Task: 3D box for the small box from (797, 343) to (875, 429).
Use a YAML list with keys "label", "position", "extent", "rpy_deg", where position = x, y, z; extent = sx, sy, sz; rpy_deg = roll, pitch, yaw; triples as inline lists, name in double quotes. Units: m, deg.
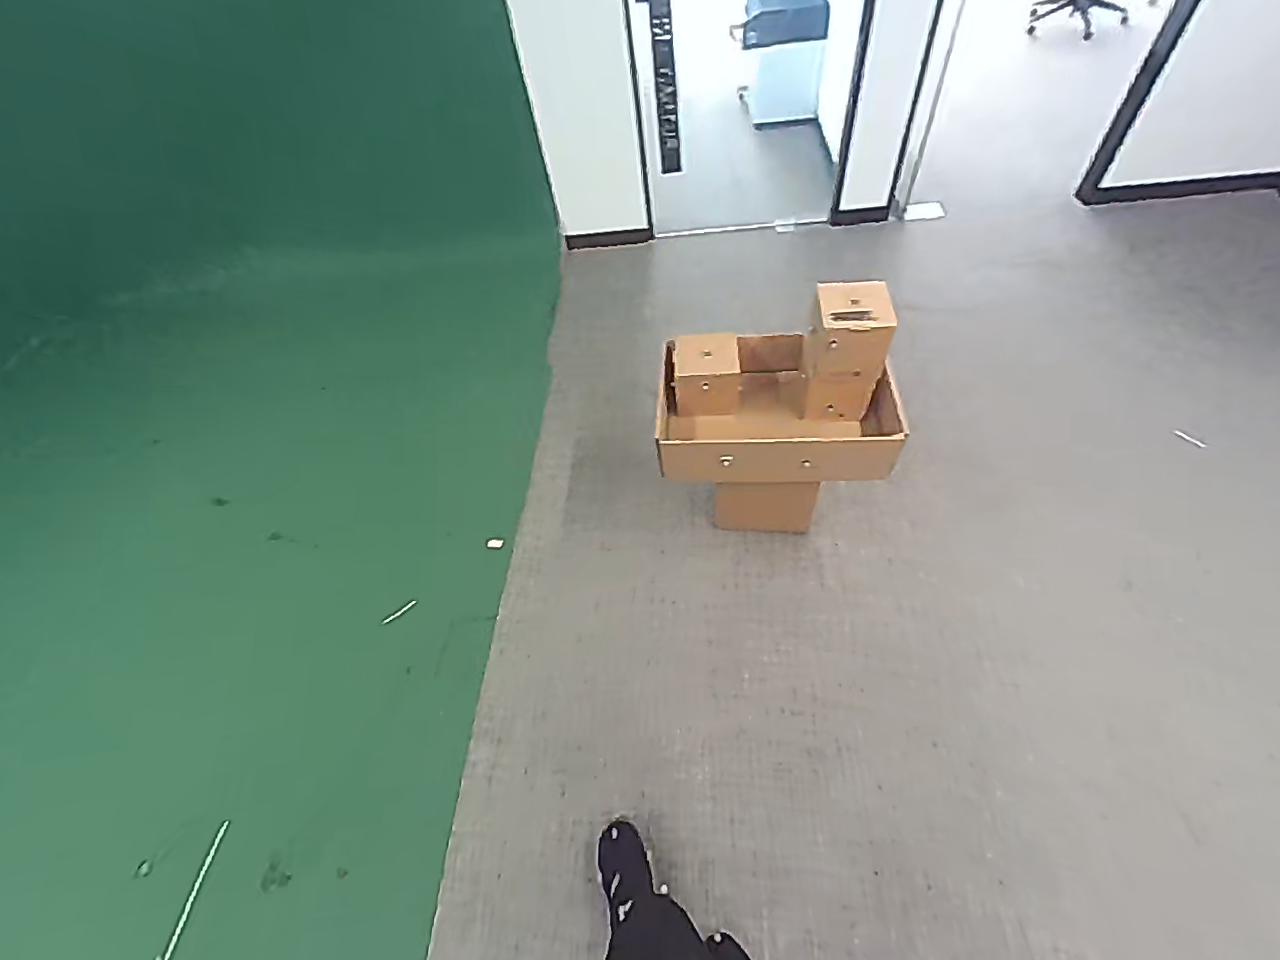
- label: "small box"
  position: [0.536, -0.261, 1.504]
  extent: [0.168, 0.176, 0.179]
  rpy_deg: [1, 55, 8]
